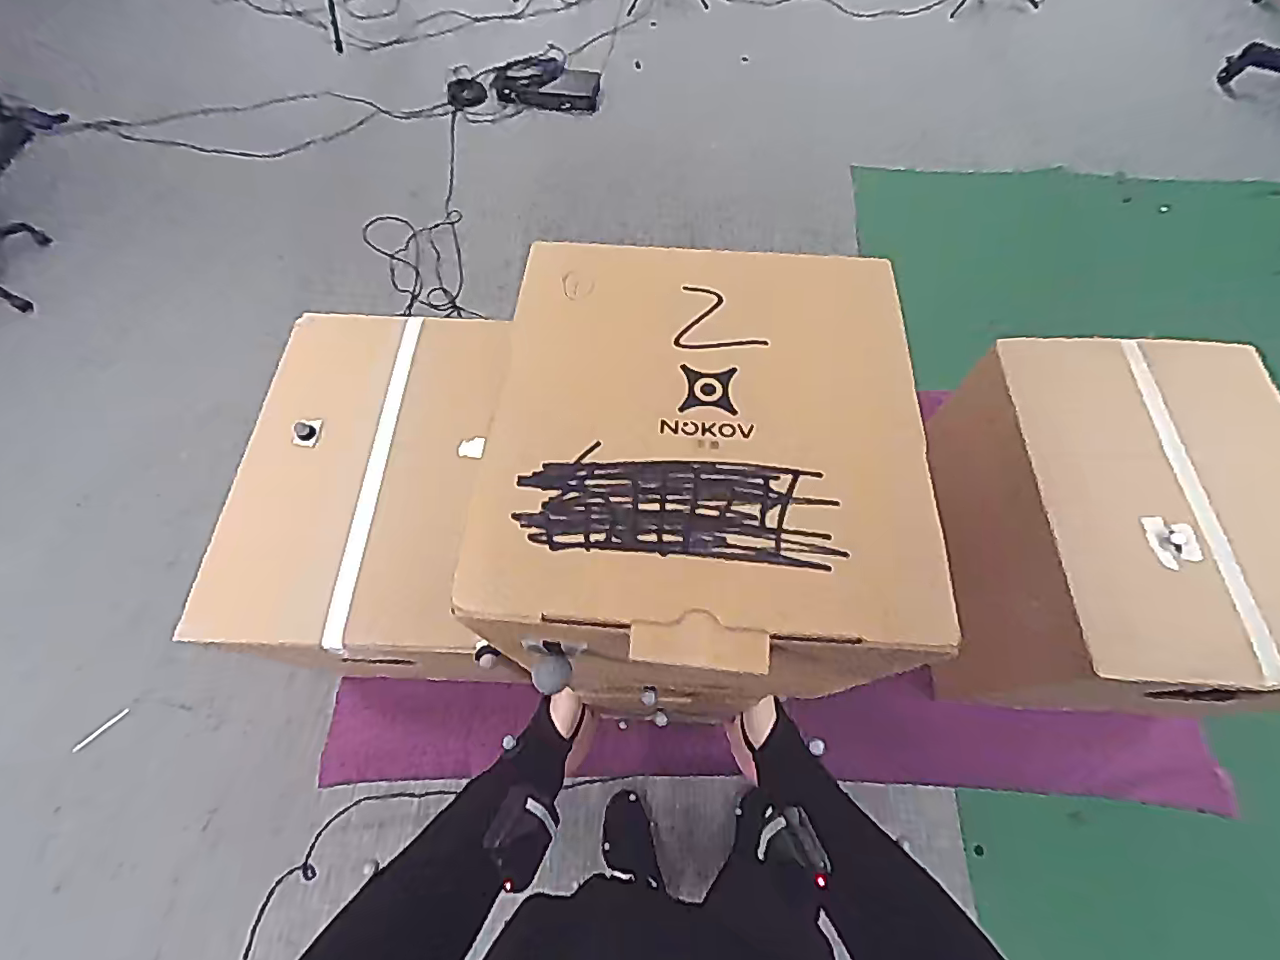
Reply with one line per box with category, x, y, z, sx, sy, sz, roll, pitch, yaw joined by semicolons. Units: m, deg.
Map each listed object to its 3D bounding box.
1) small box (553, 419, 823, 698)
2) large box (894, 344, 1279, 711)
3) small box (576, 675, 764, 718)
small box;0.030;0.071;0.431;0.168;0.176;0.179;2;64;0
large box;0.582;0.078;0.718;0.320;0.320;0.408;2;65;2
small box;0.029;0.147;0.573;0.168;0.176;0.179;2;63;1
